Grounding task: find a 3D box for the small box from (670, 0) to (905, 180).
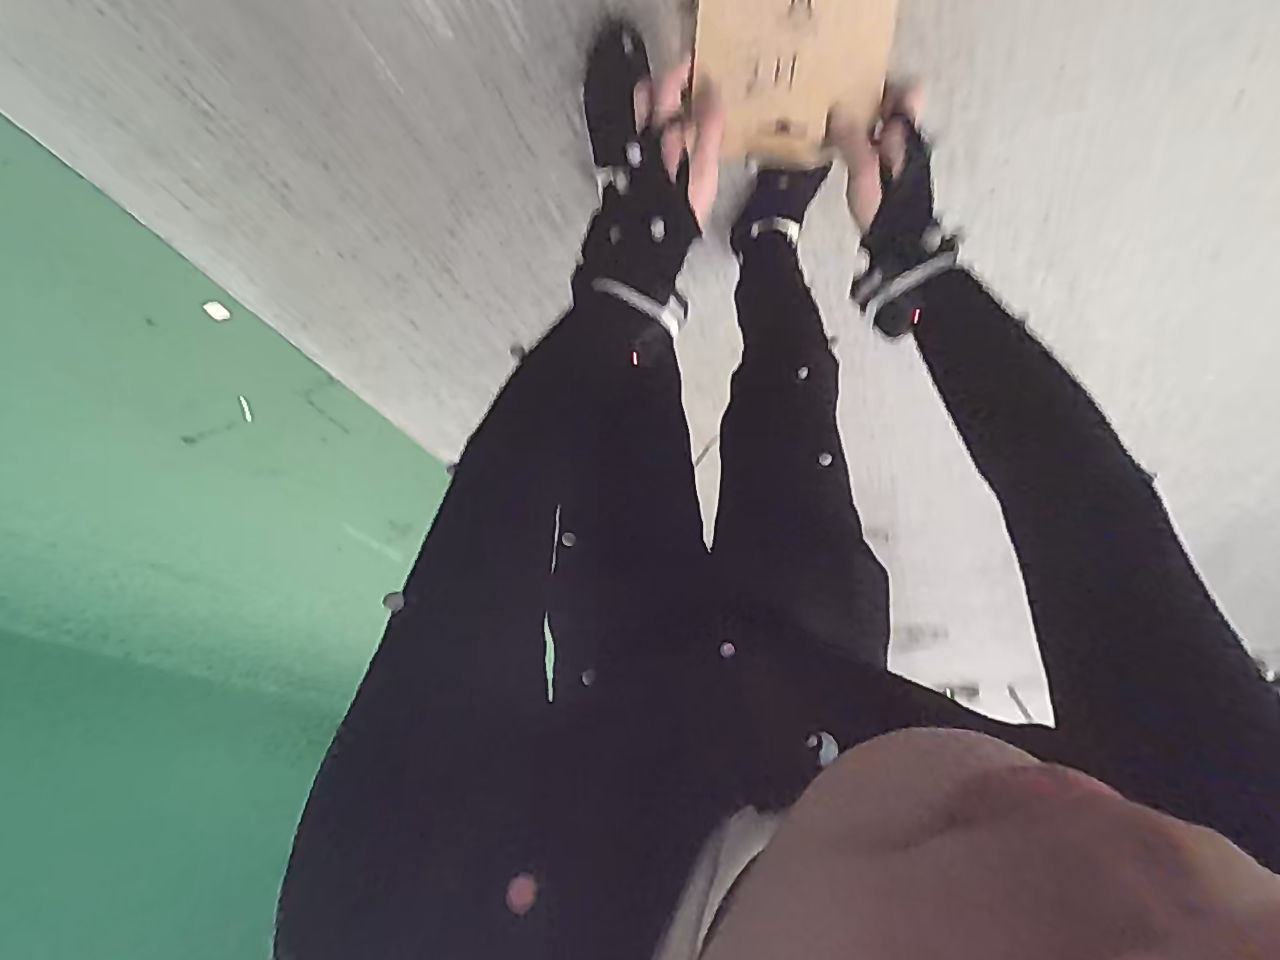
[{"bbox_3d":[0.124,-0.401,0.507,0.168,0.176,0.179,10,114,-4],"label":"small box"}]
